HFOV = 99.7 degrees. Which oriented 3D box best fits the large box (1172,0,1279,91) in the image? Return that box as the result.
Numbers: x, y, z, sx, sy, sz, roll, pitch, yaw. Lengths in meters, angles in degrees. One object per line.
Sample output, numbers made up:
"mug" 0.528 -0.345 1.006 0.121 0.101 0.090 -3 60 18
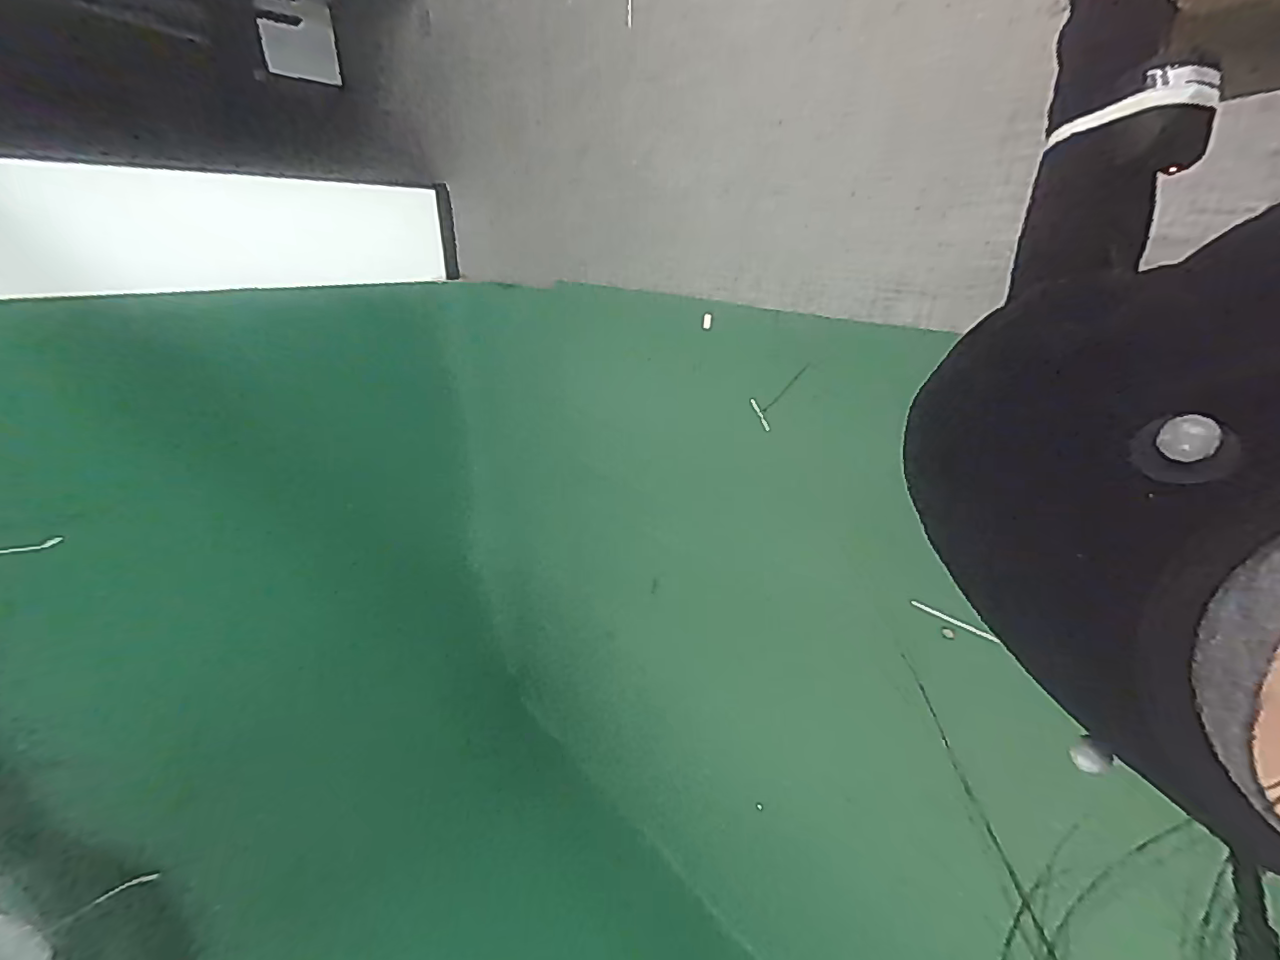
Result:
"large box" 0.572 -0.461 0.265 0.408 0.320 0.320 12 112 41
